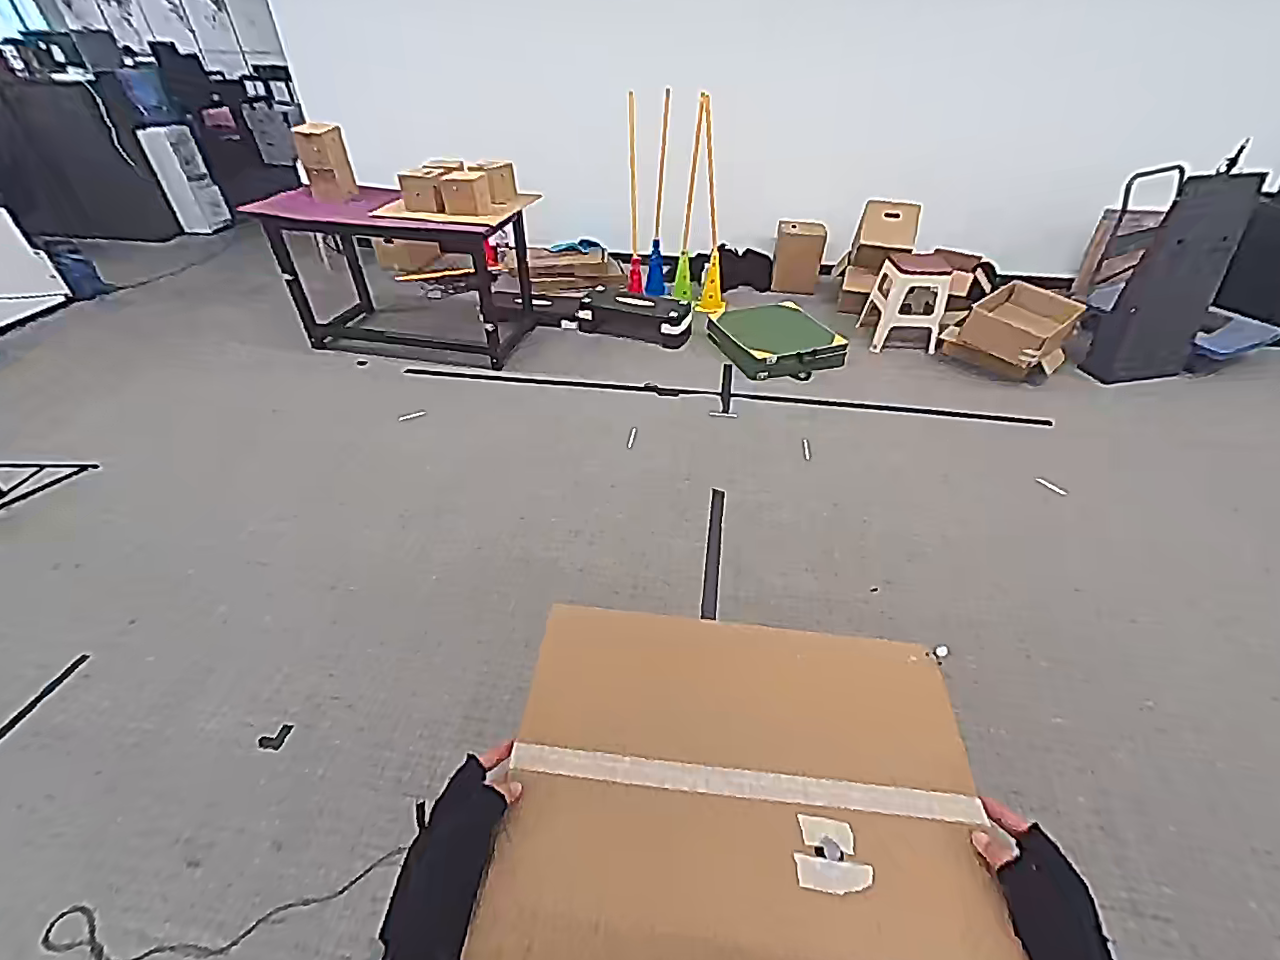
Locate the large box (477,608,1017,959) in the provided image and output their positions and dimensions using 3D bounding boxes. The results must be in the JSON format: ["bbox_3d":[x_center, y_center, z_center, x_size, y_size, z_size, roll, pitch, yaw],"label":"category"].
[{"bbox_3d":[0.085,0.370,0.582,0.408,0.320,0.320,6,46,3],"label":"large box"}]
